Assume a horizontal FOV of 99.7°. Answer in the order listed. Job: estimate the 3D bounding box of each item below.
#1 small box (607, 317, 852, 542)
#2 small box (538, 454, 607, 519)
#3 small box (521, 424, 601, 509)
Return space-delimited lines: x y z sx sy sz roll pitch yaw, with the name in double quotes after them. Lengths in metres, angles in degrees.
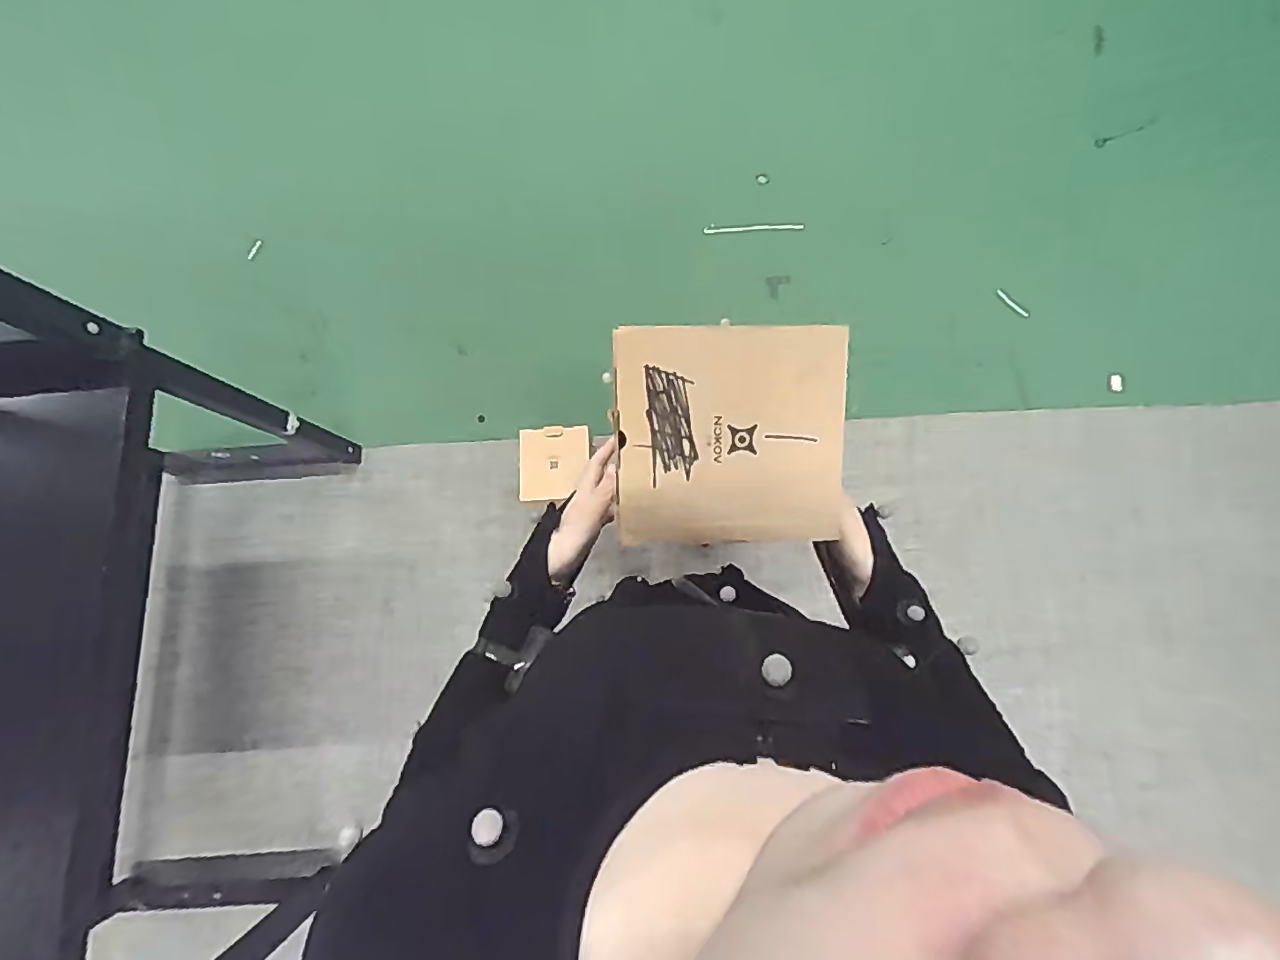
0.063 -0.046 0.473 0.179 0.176 0.168 -1 99 -2 "small box"
-0.181 0.013 1.477 0.168 0.176 0.179 -5 79 1 "small box"
-0.188 -0.026 1.318 0.168 0.176 0.179 -4 77 2 "small box"
